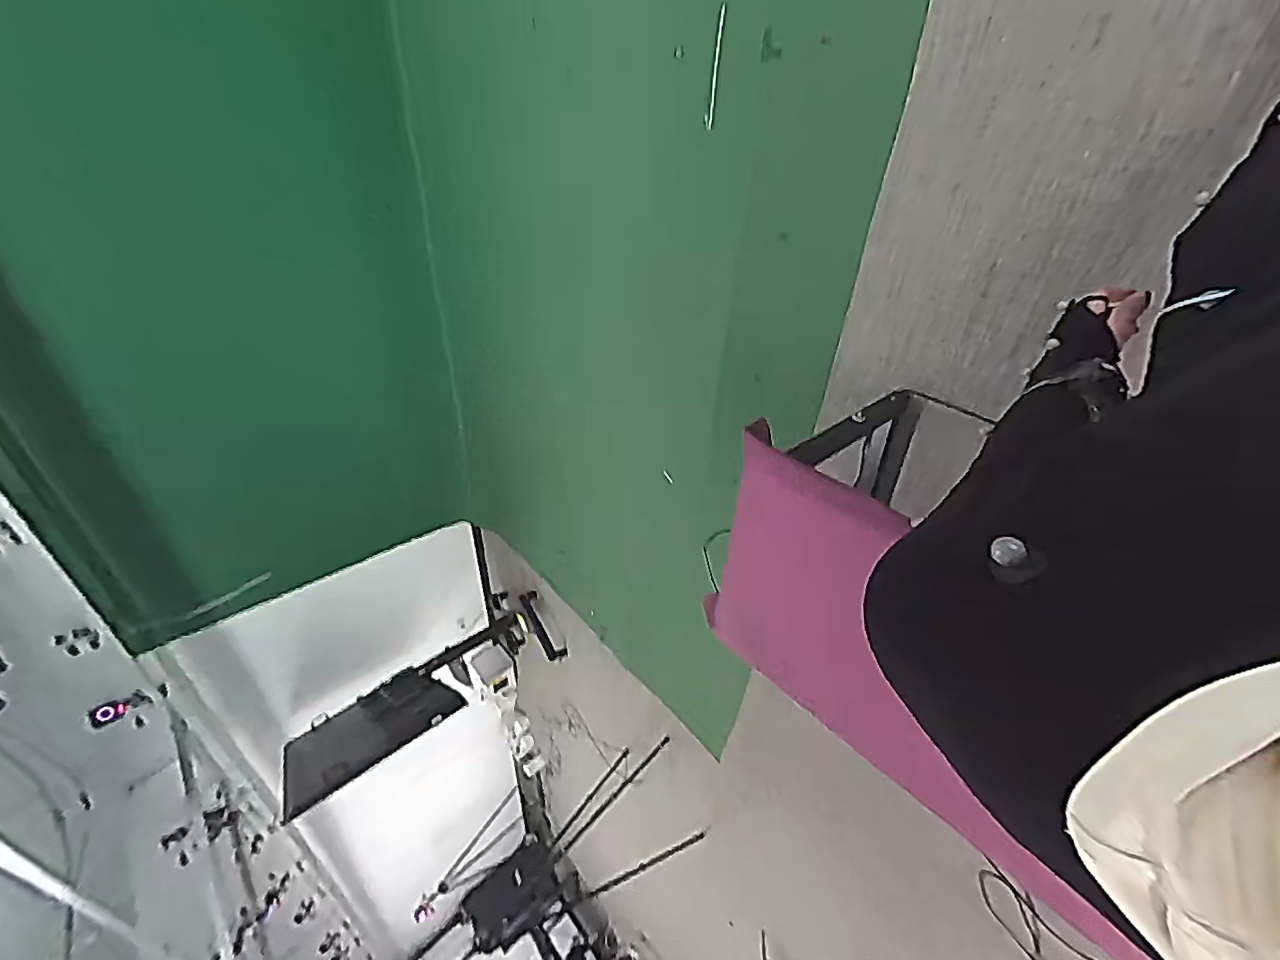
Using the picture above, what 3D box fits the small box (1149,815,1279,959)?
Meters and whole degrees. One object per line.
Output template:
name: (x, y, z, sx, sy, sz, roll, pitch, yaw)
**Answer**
small box: (0.840, 0.603, 0.720, 0.168, 0.176, 0.179, 31, 133, 39)
